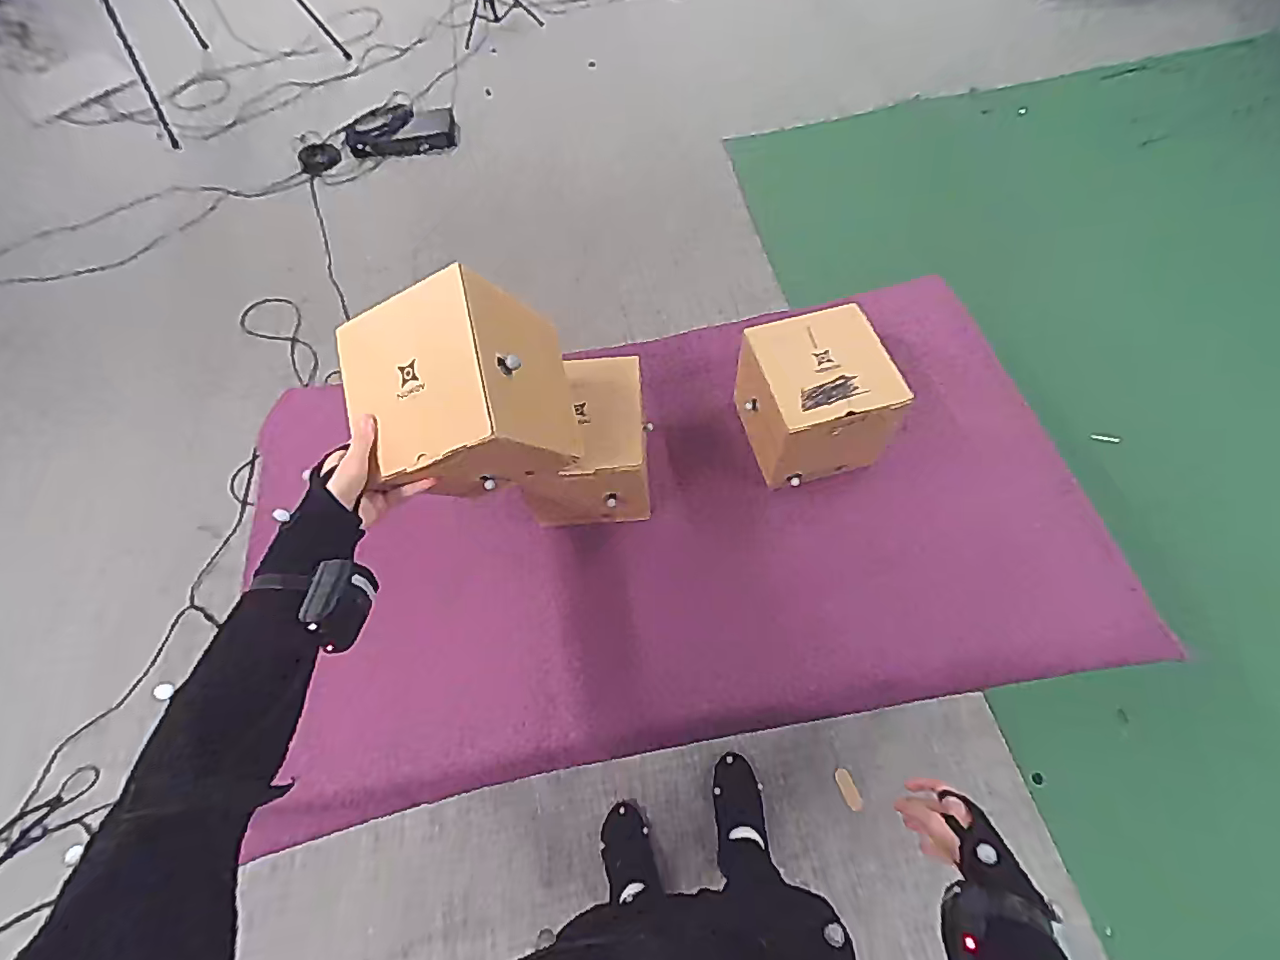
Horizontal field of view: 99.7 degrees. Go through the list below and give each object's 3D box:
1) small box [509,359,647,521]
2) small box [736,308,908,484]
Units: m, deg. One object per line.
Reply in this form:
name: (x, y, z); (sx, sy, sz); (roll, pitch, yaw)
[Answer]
small box: (-0.076, -0.047, 0.766); (0.168, 0.176, 0.179); (-3, 62, 2)
small box: (0.243, -0.109, 0.774); (0.168, 0.176, 0.179); (-13, 62, -3)
